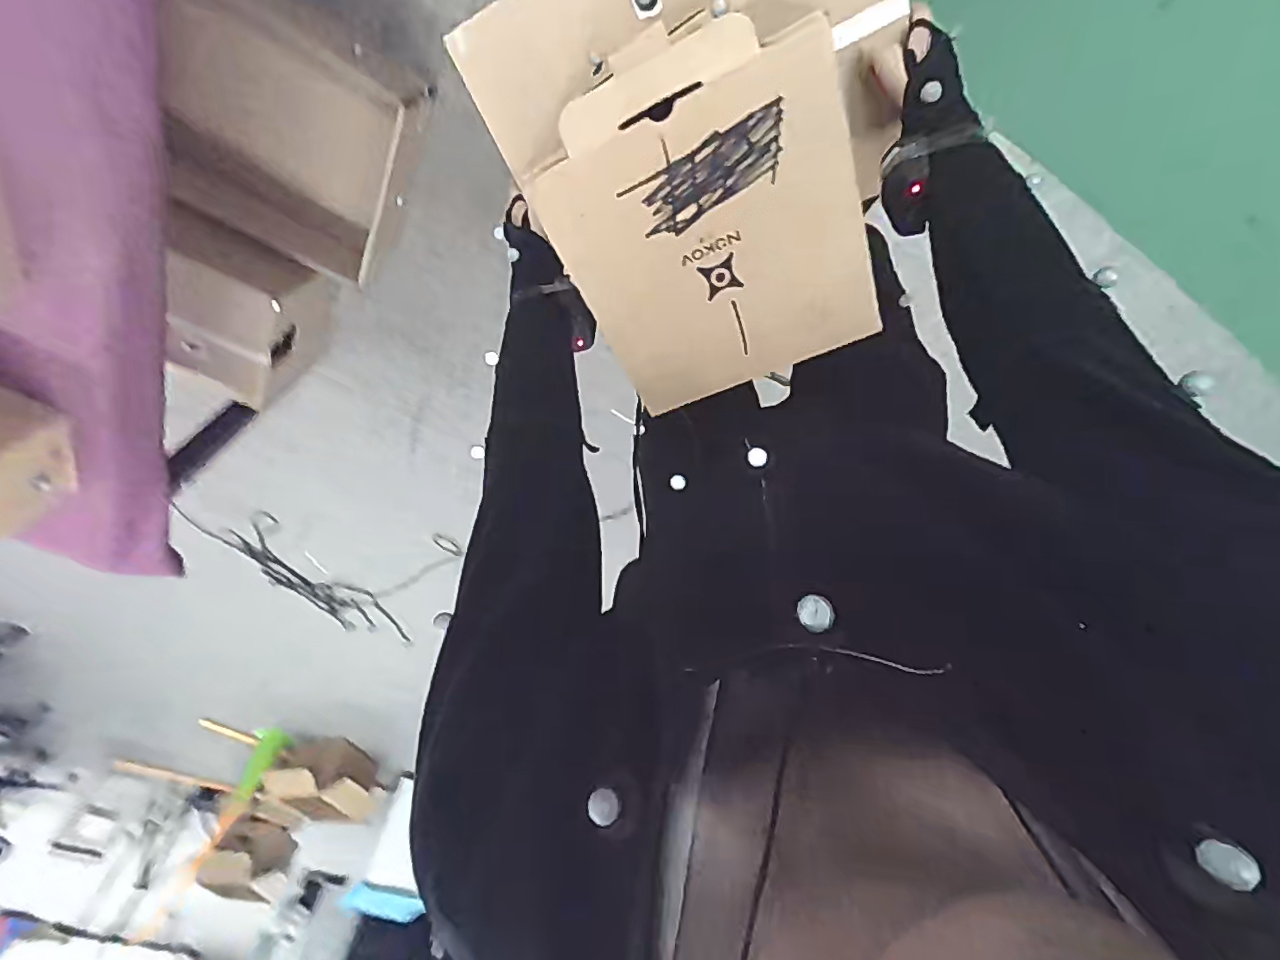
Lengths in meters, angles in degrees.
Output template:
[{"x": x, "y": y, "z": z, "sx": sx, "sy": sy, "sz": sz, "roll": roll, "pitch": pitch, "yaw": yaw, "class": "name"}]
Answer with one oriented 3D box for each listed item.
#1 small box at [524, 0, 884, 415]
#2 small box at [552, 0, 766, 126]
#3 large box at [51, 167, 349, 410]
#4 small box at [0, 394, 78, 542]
[{"x": 0.046, "y": -0.181, "z": 0.367, "sx": 0.168, "sy": 0.176, "sz": 0.179, "roll": -18, "pitch": 132, "yaw": 17, "class": "small box"}, {"x": 0.044, "y": -0.298, "z": 0.483, "sx": 0.168, "sy": 0.176, "sz": 0.179, "roll": -22, "pitch": 129, "yaw": 20, "class": "small box"}, {"x": -0.952, "y": -0.431, "z": 1.222, "sx": 0.408, "sy": 0.320, "sz": 0.320, "roll": 25, "pitch": 127, "yaw": -17, "class": "large box"}, {"x": -0.901, "y": -0.018, "z": 0.699, "sx": 0.179, "sy": 0.176, "sz": 0.168, "roll": 26, "pitch": 127, "yaw": -16, "class": "small box"}]
